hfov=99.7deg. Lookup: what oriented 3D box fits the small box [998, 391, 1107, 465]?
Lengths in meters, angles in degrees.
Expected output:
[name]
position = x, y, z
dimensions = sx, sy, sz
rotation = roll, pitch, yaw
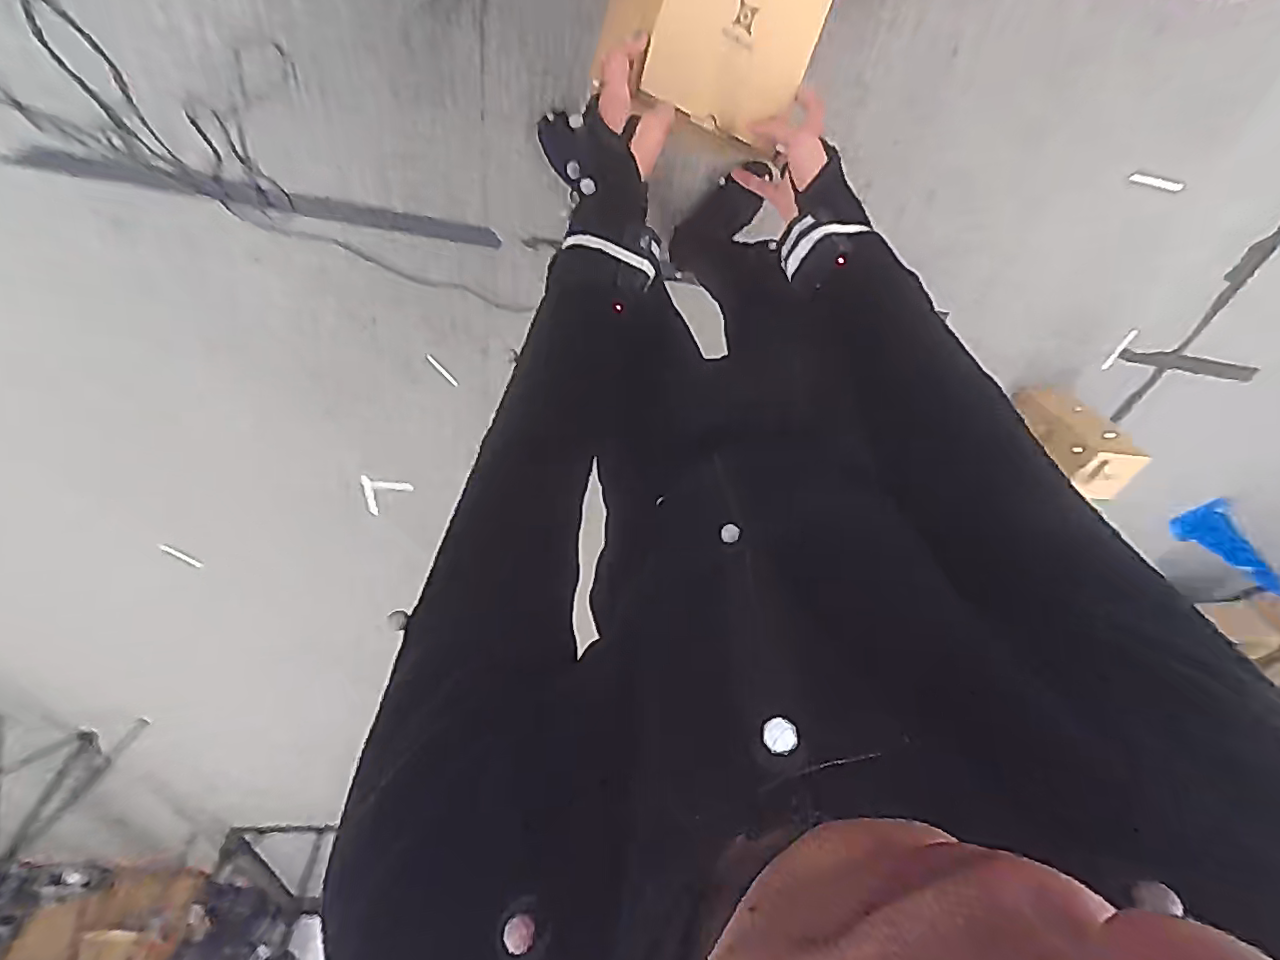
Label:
[small box]
position = 1.284, -0.164, 1.697
dimensions = 0.179, 0.176, 0.168
rotation = 3, 131, -7
